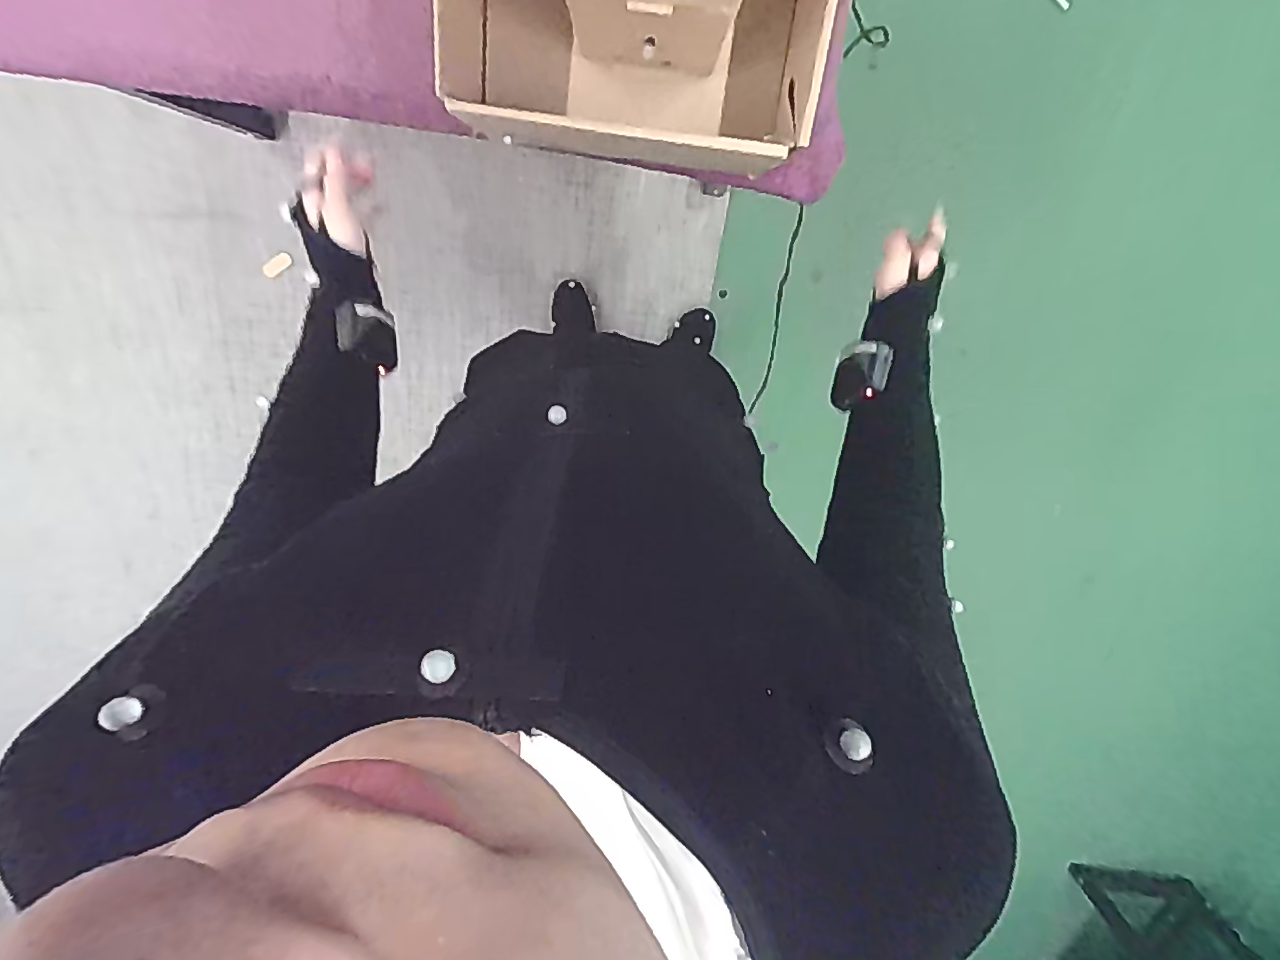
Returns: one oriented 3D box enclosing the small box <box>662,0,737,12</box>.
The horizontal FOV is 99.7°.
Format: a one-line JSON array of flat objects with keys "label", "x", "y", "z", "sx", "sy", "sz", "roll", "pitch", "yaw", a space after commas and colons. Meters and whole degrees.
[{"label": "small box", "x": 0.019, "y": -0.500, "z": 0.407, "sx": 0.168, "sy": 0.176, "sz": 0.179, "roll": 6, "pitch": 110, "yaw": -2}]
